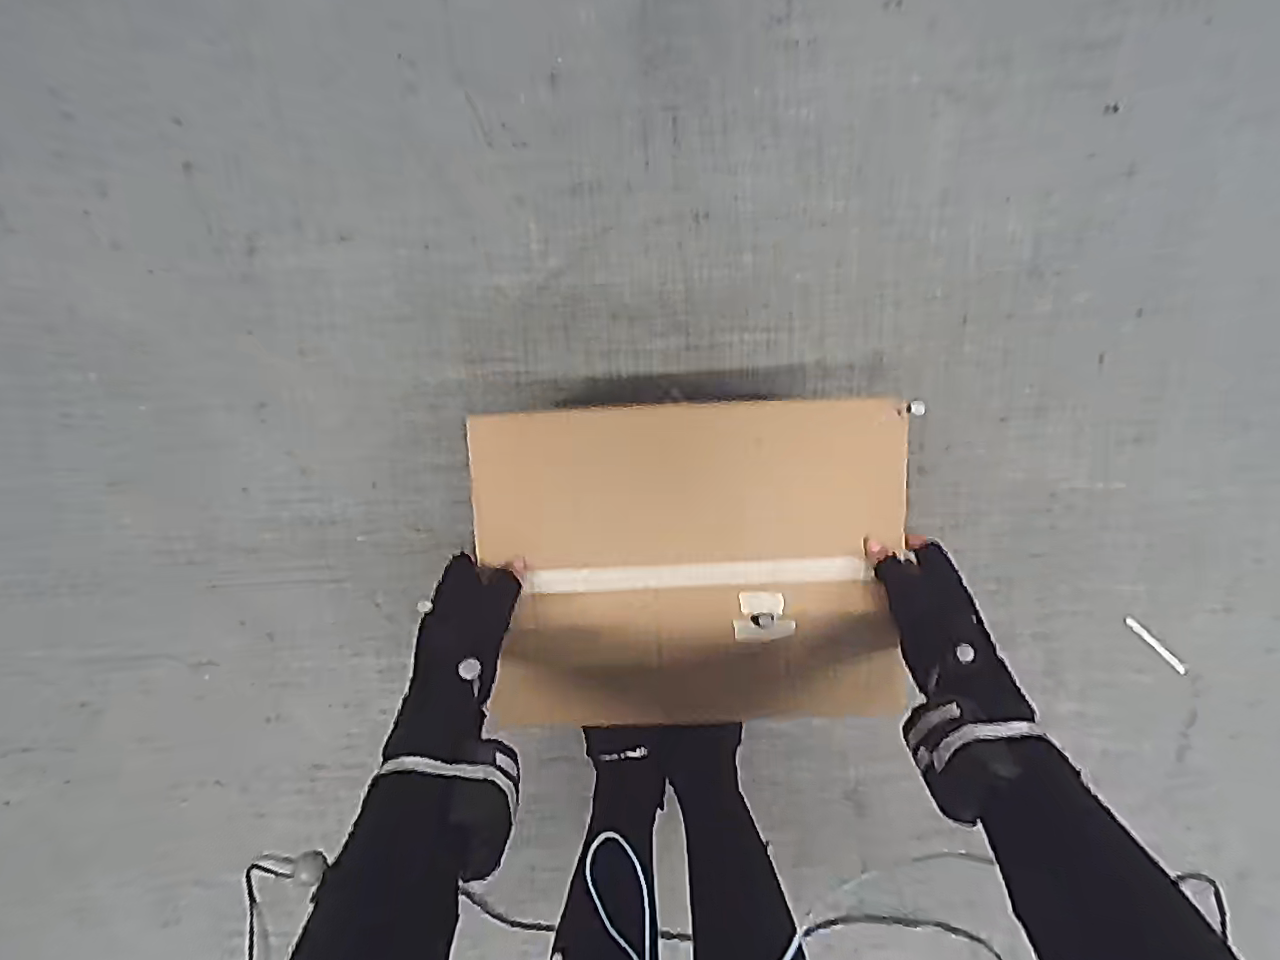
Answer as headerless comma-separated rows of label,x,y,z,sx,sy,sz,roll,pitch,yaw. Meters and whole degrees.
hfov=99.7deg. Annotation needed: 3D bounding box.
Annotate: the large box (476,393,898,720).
large box,0.050,0.064,0.674,0.408,0.320,0.320,-3,98,1
